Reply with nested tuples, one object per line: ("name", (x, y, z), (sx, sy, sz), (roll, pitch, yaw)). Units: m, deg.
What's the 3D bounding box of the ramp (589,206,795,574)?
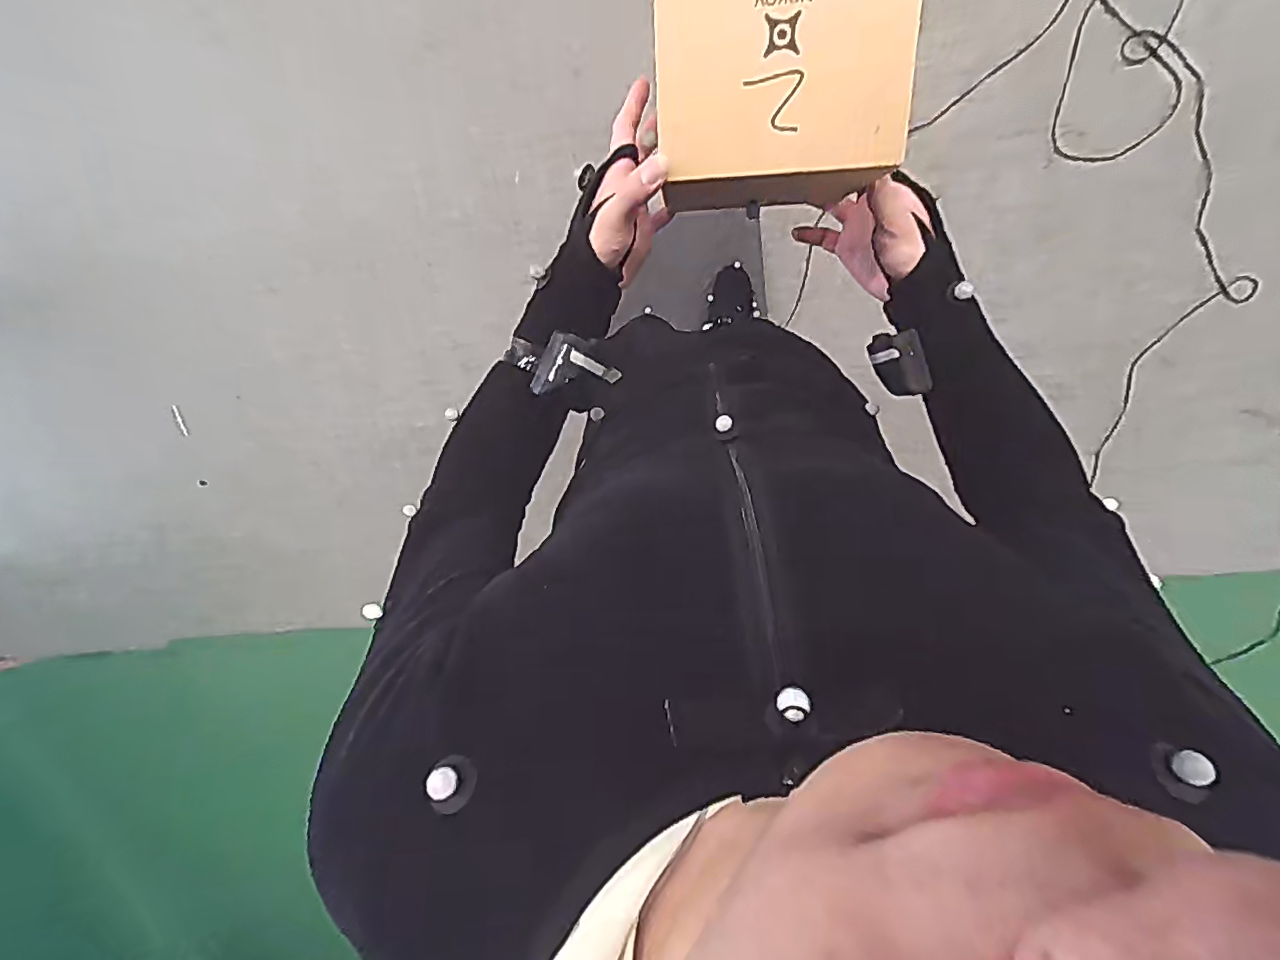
("ramp", (0.154, -0.223, 1.564), (0.509, 0.206, 0.991), (-8, 109, 10))
